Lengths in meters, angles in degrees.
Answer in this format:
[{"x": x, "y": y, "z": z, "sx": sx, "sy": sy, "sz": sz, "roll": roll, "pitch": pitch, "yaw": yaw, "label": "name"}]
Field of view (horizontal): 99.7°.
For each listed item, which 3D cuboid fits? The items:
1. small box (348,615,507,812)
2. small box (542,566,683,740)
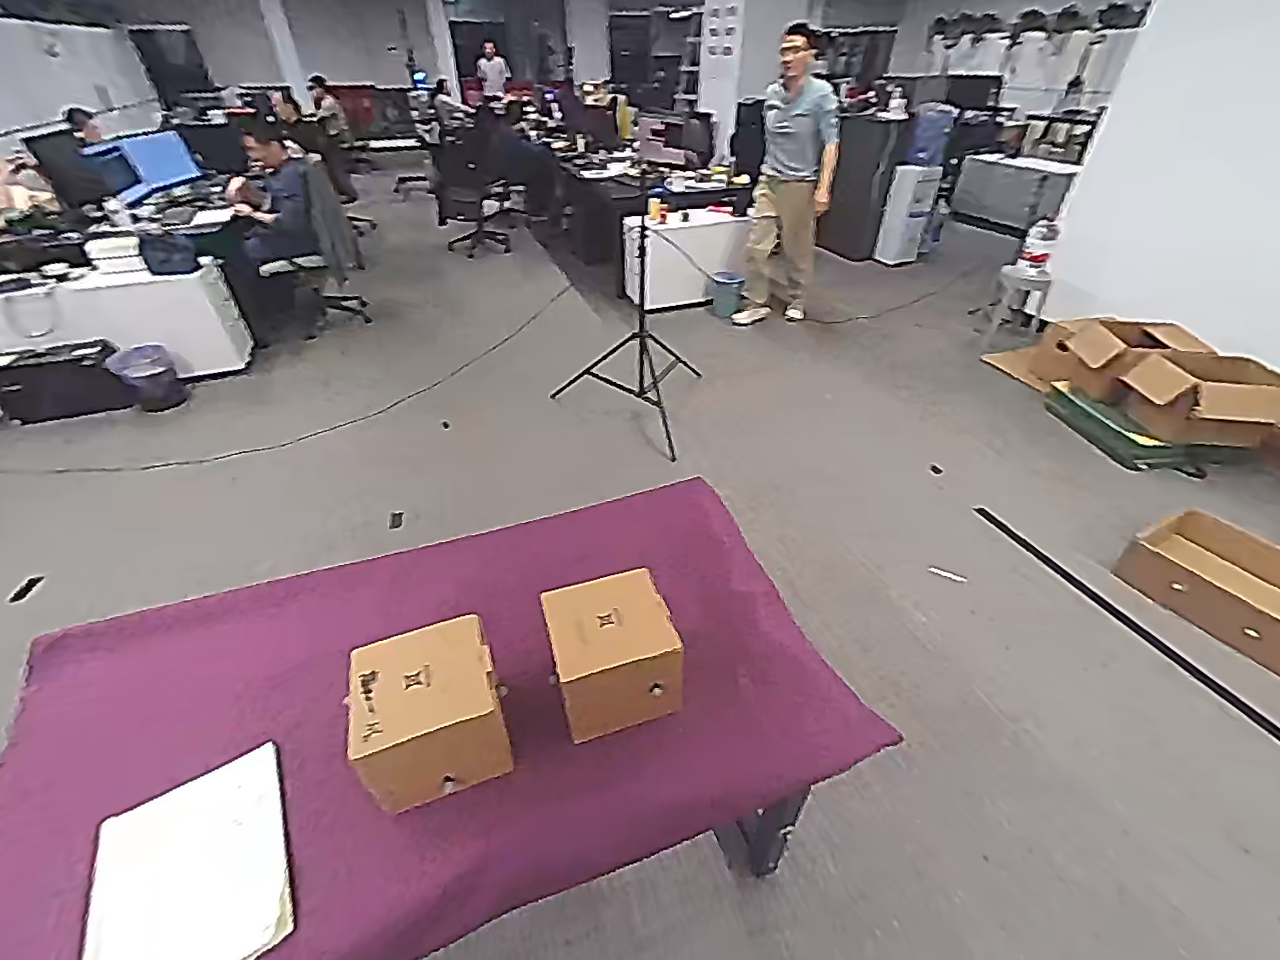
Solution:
[{"x": -0.292, "y": 0.327, "z": 0.765, "sx": 0.179, "sy": 0.176, "sz": 0.168, "roll": -13, "pitch": 39, "yaw": -17, "label": "small box"}, {"x": -0.044, "y": 0.266, "z": 0.841, "sx": 0.179, "sy": 0.176, "sz": 0.168, "roll": -13, "pitch": 38, "yaw": -13, "label": "small box"}]
